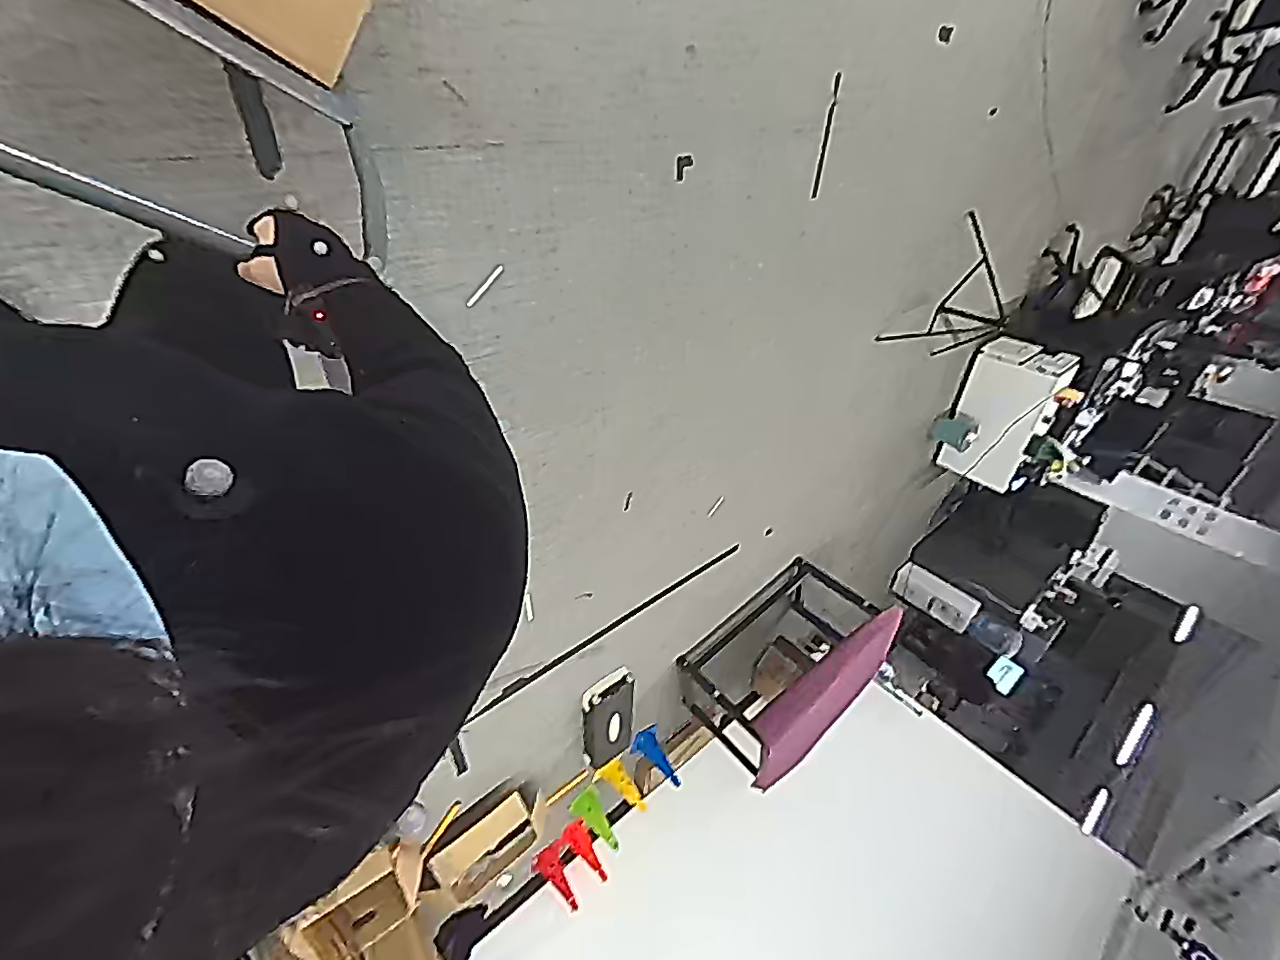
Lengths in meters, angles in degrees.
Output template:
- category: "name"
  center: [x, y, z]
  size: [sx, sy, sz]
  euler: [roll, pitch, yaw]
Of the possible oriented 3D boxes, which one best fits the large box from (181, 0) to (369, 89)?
- category: "large box"
  center: [-0.537, -0.787, 0.626]
  size: [0.320, 0.320, 0.408]
  euler: [-44, 148, 25]
